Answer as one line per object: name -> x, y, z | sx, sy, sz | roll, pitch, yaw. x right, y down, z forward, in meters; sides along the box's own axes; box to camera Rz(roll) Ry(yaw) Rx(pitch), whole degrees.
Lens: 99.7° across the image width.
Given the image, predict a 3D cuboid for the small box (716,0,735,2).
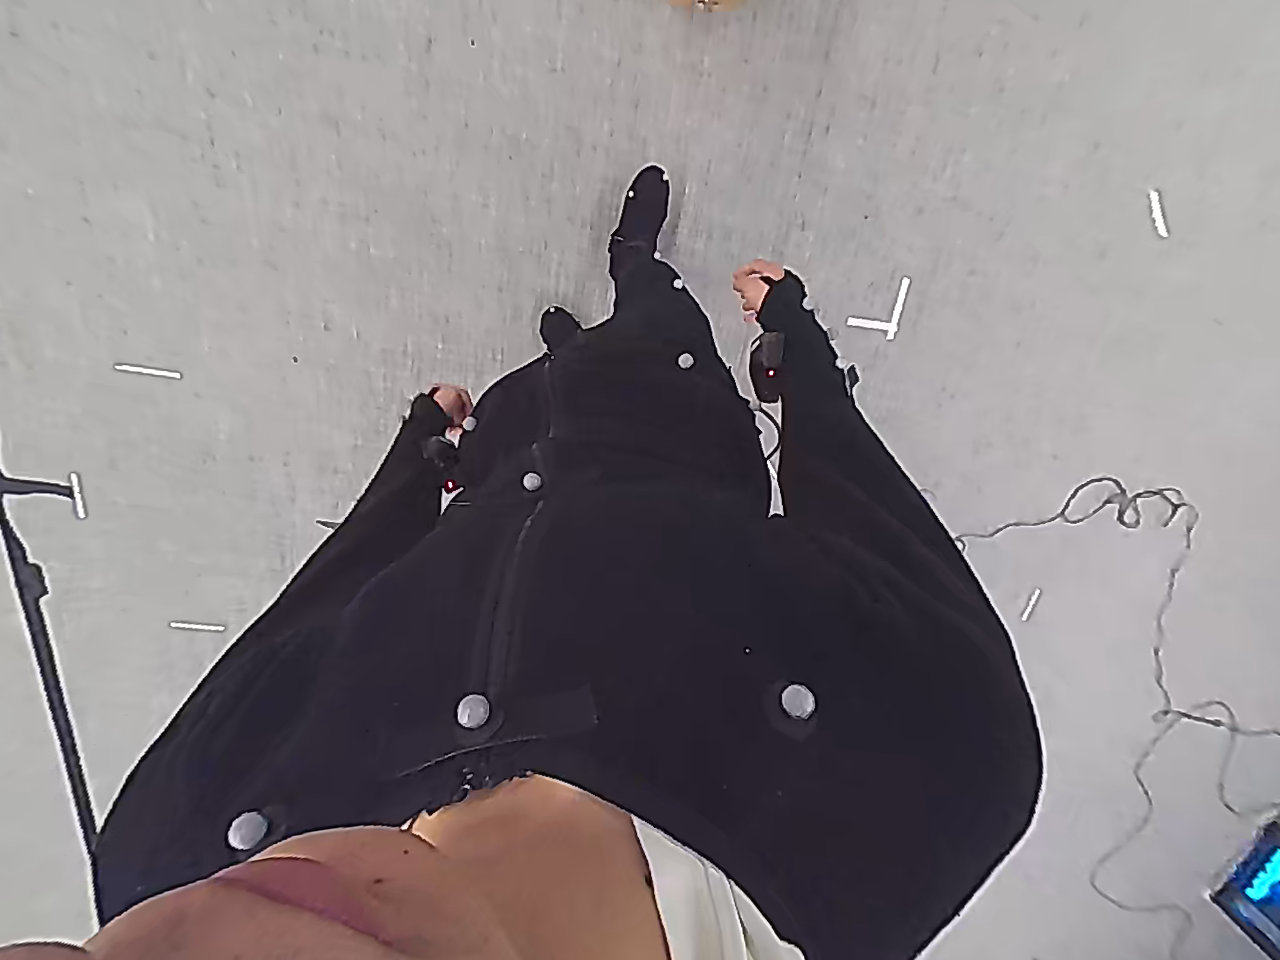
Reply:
small box -> 0.164, -1.174, 1.156 | 0.168, 0.176, 0.179 | -3, 111, -4
